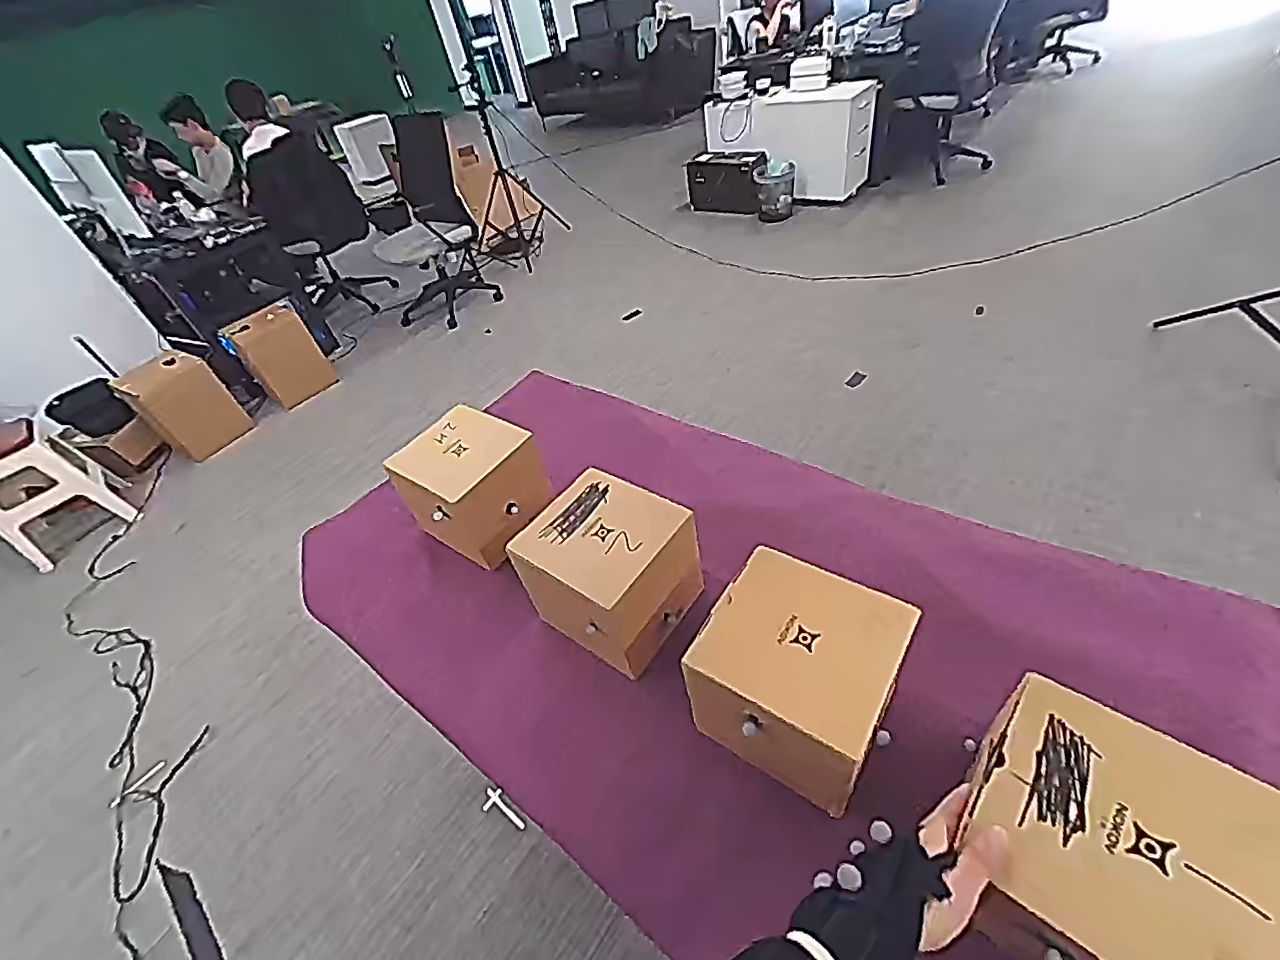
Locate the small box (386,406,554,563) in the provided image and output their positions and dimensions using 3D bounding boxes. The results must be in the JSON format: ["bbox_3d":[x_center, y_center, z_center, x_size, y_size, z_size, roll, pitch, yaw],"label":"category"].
[{"bbox_3d":[-0.267,0.011,0.889,0.179,0.176,0.168,23,53,29],"label":"small box"}]

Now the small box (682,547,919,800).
[{"bbox_3d":[0.169,0.209,0.581,0.179,0.176,0.168,21,53,32],"label":"small box"}]
